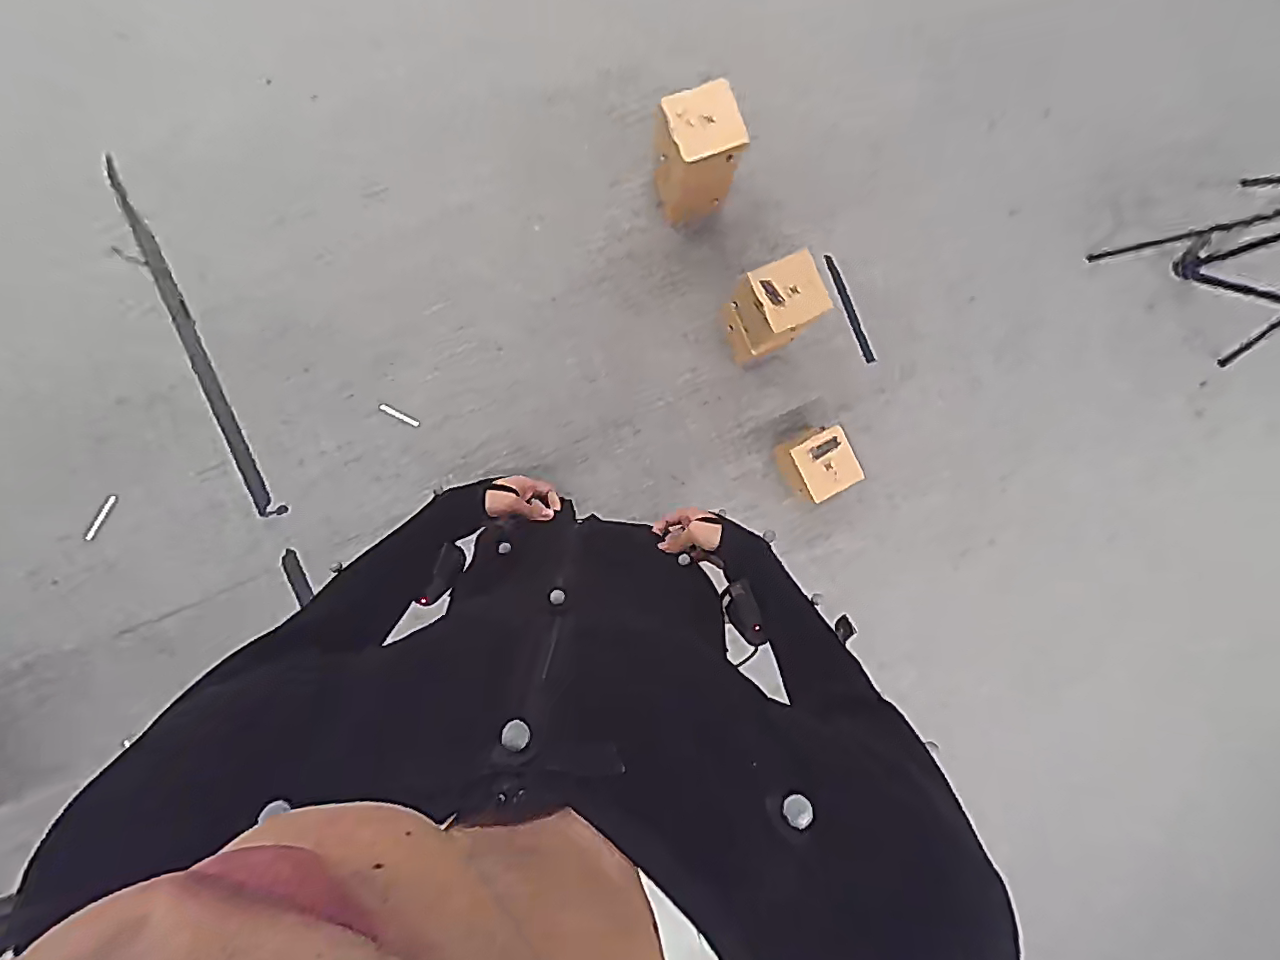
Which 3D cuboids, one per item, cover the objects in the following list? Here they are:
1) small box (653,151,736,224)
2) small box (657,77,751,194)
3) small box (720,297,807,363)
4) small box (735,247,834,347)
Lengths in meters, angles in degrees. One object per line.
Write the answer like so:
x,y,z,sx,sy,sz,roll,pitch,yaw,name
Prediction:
0.149,-0.868,1.546,0.179,0.176,0.168,-20,92,-5,small box
0.156,-0.871,1.382,0.179,0.176,0.168,-21,92,-4,small box
0.348,-0.458,1.572,0.179,0.176,0.168,-26,93,-5,small box
0.364,-0.468,1.408,0.179,0.176,0.168,-25,93,-6,small box
